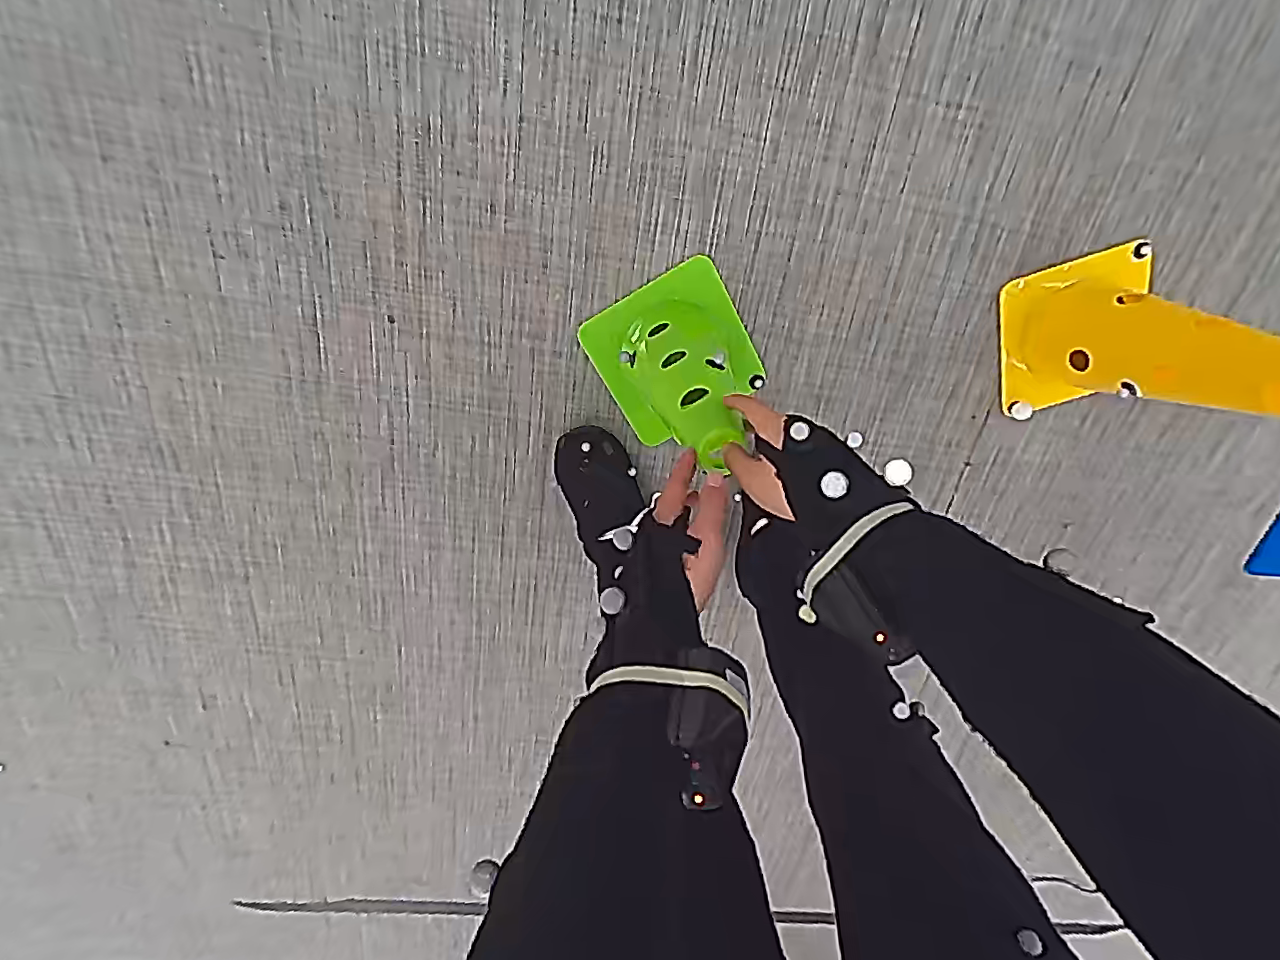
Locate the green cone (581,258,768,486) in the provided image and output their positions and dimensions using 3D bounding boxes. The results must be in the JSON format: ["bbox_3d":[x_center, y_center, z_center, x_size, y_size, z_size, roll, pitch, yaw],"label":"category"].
[{"bbox_3d":[0.055,-0.092,0.571,0.202,0.368,0.200,-29,112,11],"label":"green cone"}]
